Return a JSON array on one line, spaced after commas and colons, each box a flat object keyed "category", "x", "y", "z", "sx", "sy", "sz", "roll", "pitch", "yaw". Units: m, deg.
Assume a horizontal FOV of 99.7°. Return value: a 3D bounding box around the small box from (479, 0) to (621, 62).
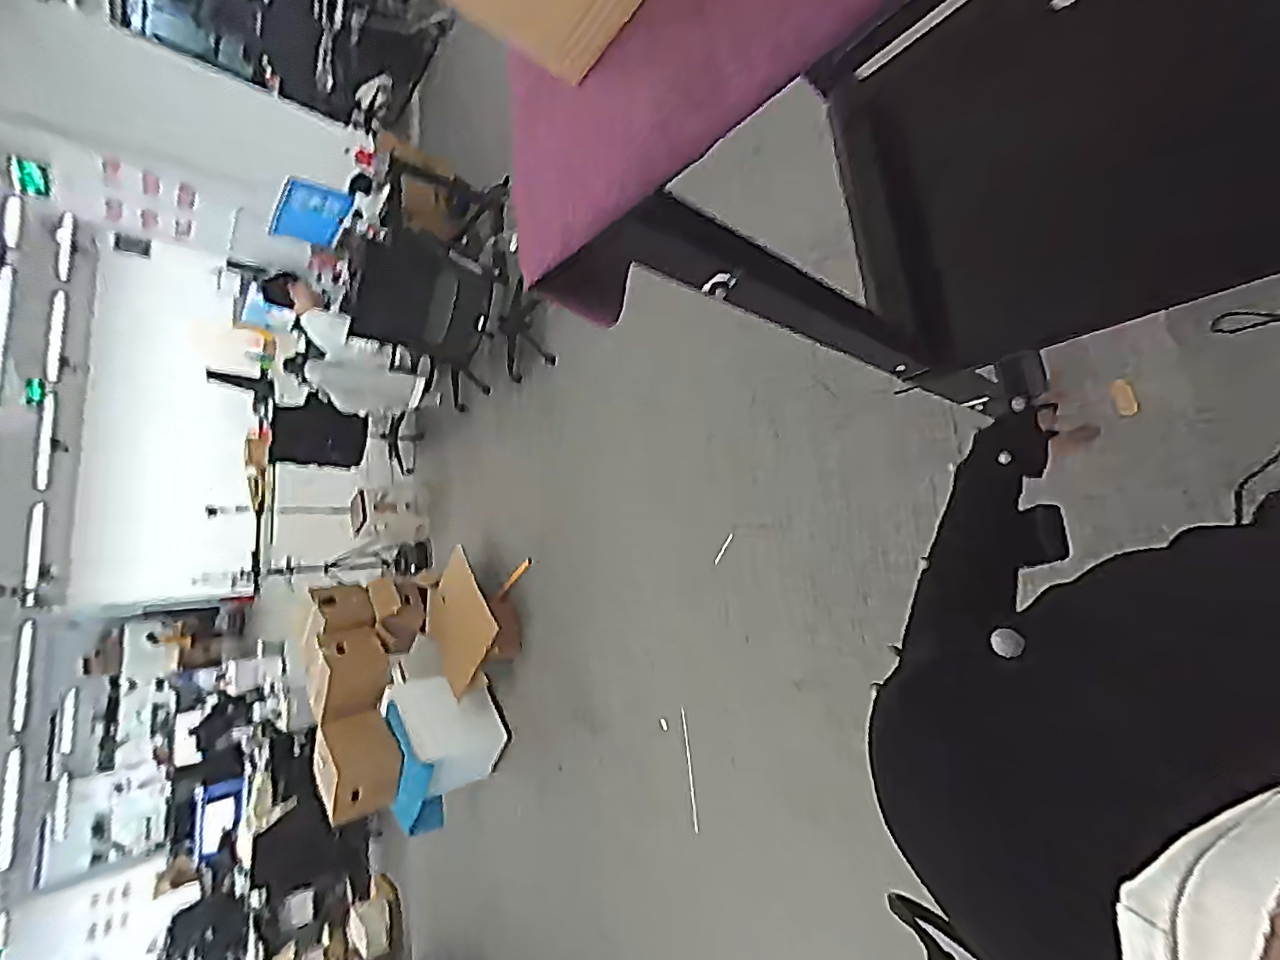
[{"category": "small box", "x": -0.061, "y": -0.400, "z": 0.302, "sx": 0.179, "sy": 0.176, "sz": 0.168, "roll": -21, "pitch": 72, "yaw": 43}]
